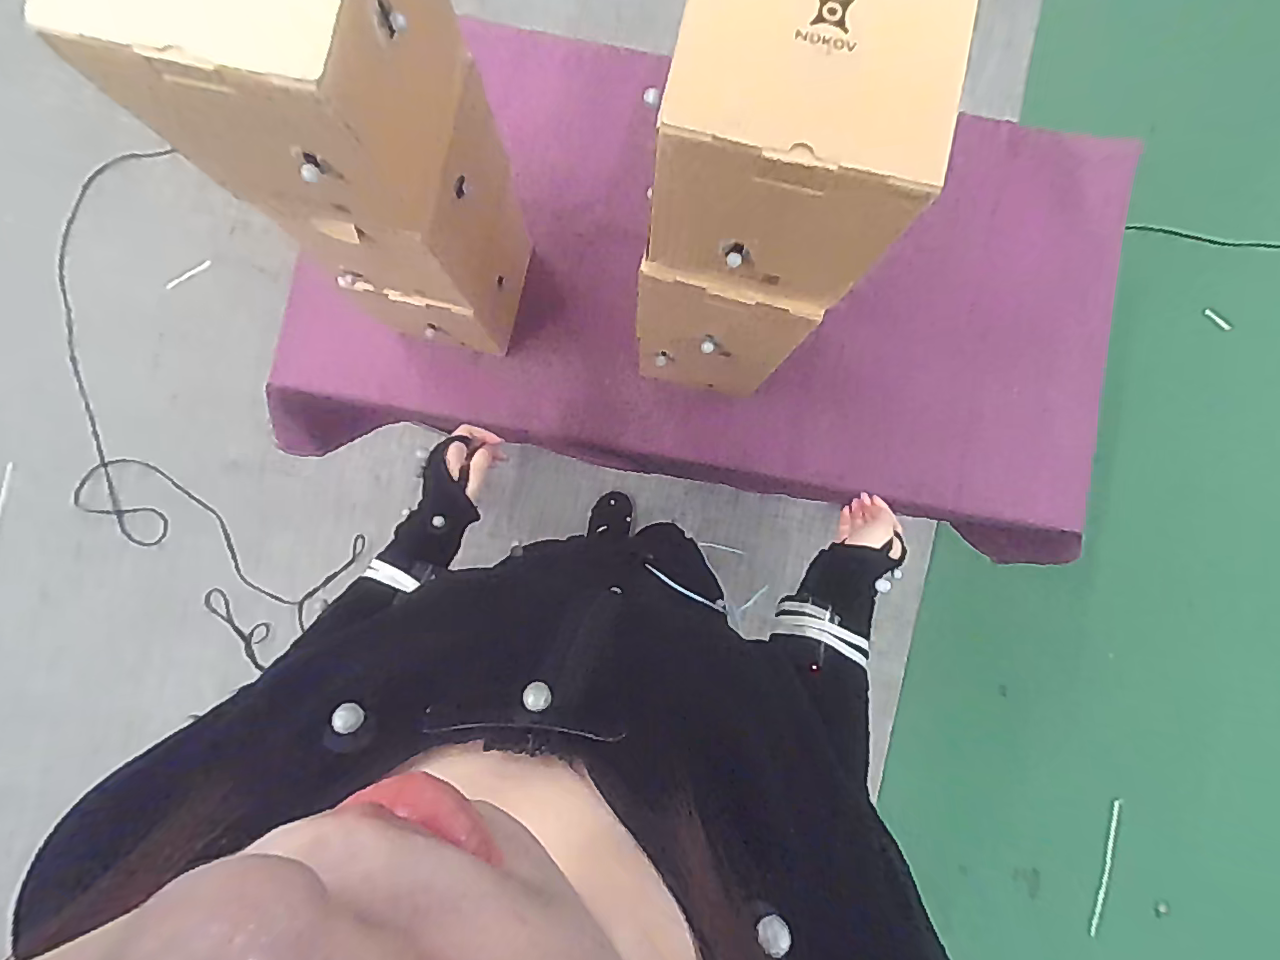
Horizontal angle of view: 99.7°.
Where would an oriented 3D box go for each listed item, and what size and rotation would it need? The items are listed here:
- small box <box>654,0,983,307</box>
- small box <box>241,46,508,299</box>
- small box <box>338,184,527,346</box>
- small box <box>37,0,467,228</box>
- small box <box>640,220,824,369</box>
[{"bbox_3d":[0.109,-0.254,0.394,0.168,0.176,0.179,13,87,-2],"label":"small box"},{"bbox_3d":[-0.244,-0.308,0.547,0.168,0.176,0.179,14,86,-2],"label":"small box"},{"bbox_3d":[-0.255,-0.293,0.711,0.168,0.176,0.179,14,87,-2],"label":"small box"},{"bbox_3d":[-0.238,-0.312,0.384,0.168,0.176,0.179,12,86,-2],"label":"small box"},{"bbox_3d":[0.098,-0.235,0.556,0.168,0.176,0.179,16,87,-1],"label":"small box"}]
